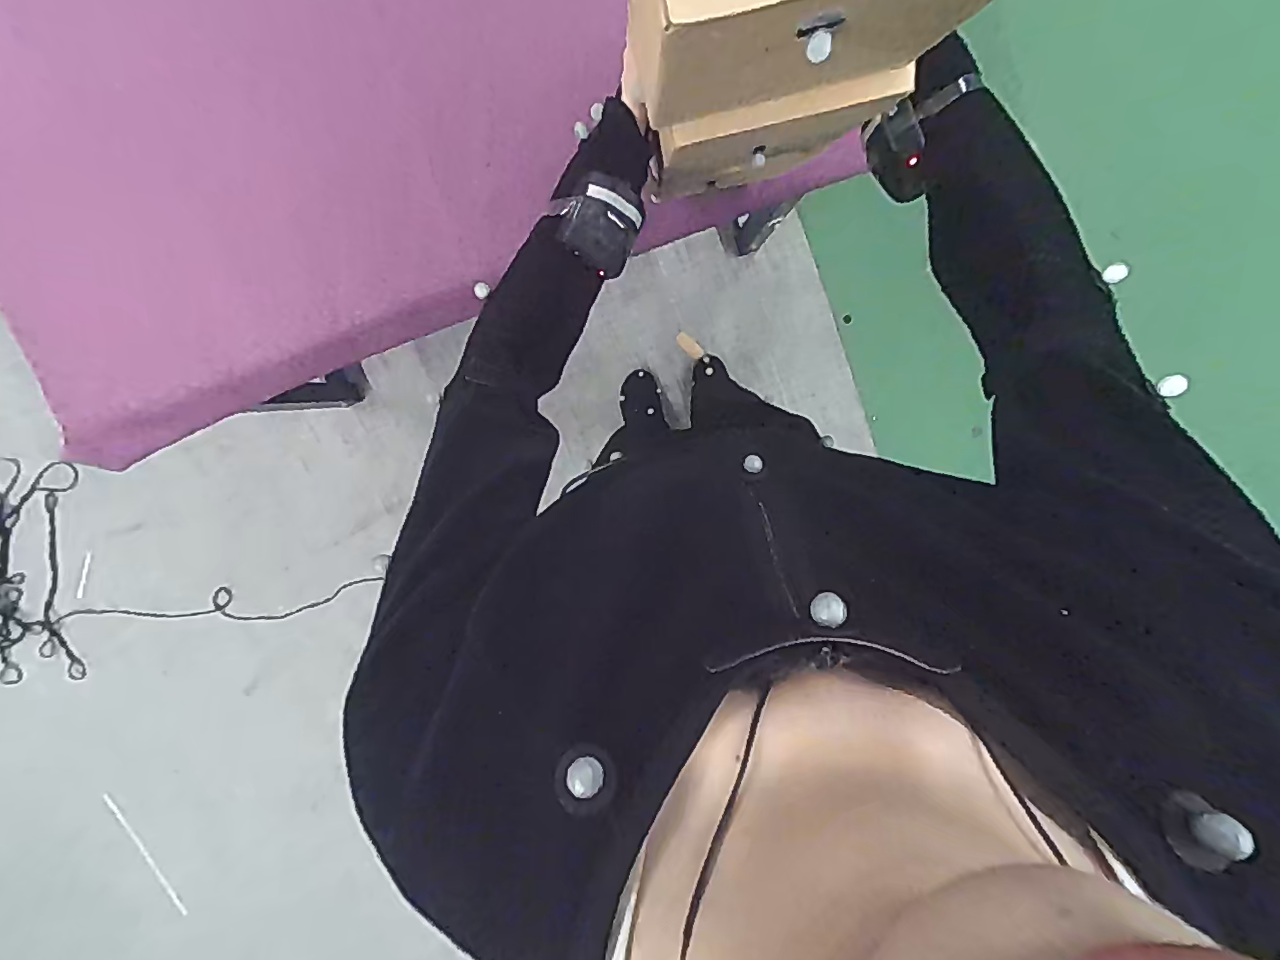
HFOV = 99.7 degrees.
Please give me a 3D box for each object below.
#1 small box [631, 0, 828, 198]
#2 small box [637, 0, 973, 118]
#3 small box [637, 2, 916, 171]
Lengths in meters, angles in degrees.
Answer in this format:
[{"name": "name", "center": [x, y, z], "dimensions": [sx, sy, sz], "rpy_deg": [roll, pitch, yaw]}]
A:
[{"name": "small box", "center": [0.086, -0.407, 0.565], "dimensions": [0.168, 0.176, 0.179], "rpy_deg": [-10, 111, 3]}, {"name": "small box", "center": [0.079, -0.299, 0.253], "dimensions": [0.179, 0.176, 0.168], "rpy_deg": [-12, 111, 3]}, {"name": "small box", "center": [0.088, -0.351, 0.410], "dimensions": [0.168, 0.176, 0.179], "rpy_deg": [-11, 111, 3]}]
